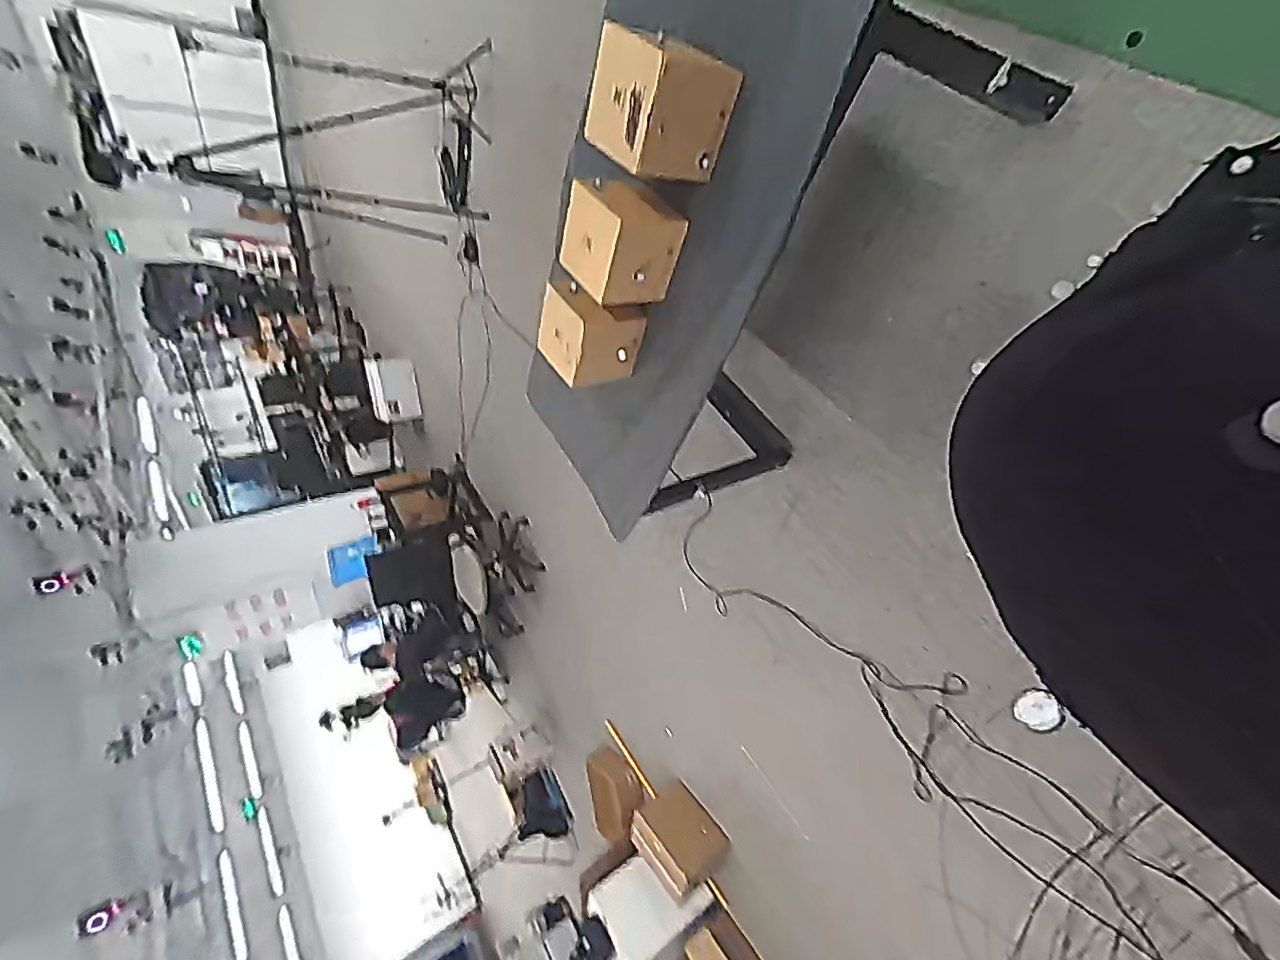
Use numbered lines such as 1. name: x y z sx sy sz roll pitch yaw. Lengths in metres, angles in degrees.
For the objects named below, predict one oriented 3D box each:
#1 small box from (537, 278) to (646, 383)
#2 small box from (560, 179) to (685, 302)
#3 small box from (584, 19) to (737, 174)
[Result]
1. small box: -0.115 -0.347 1.245 0.179 0.176 0.168 51 140 29
2. small box: -0.036 -0.480 1.082 0.179 0.176 0.168 52 141 29
3. small box: 0.032 -0.637 0.913 0.179 0.176 0.168 52 141 29
